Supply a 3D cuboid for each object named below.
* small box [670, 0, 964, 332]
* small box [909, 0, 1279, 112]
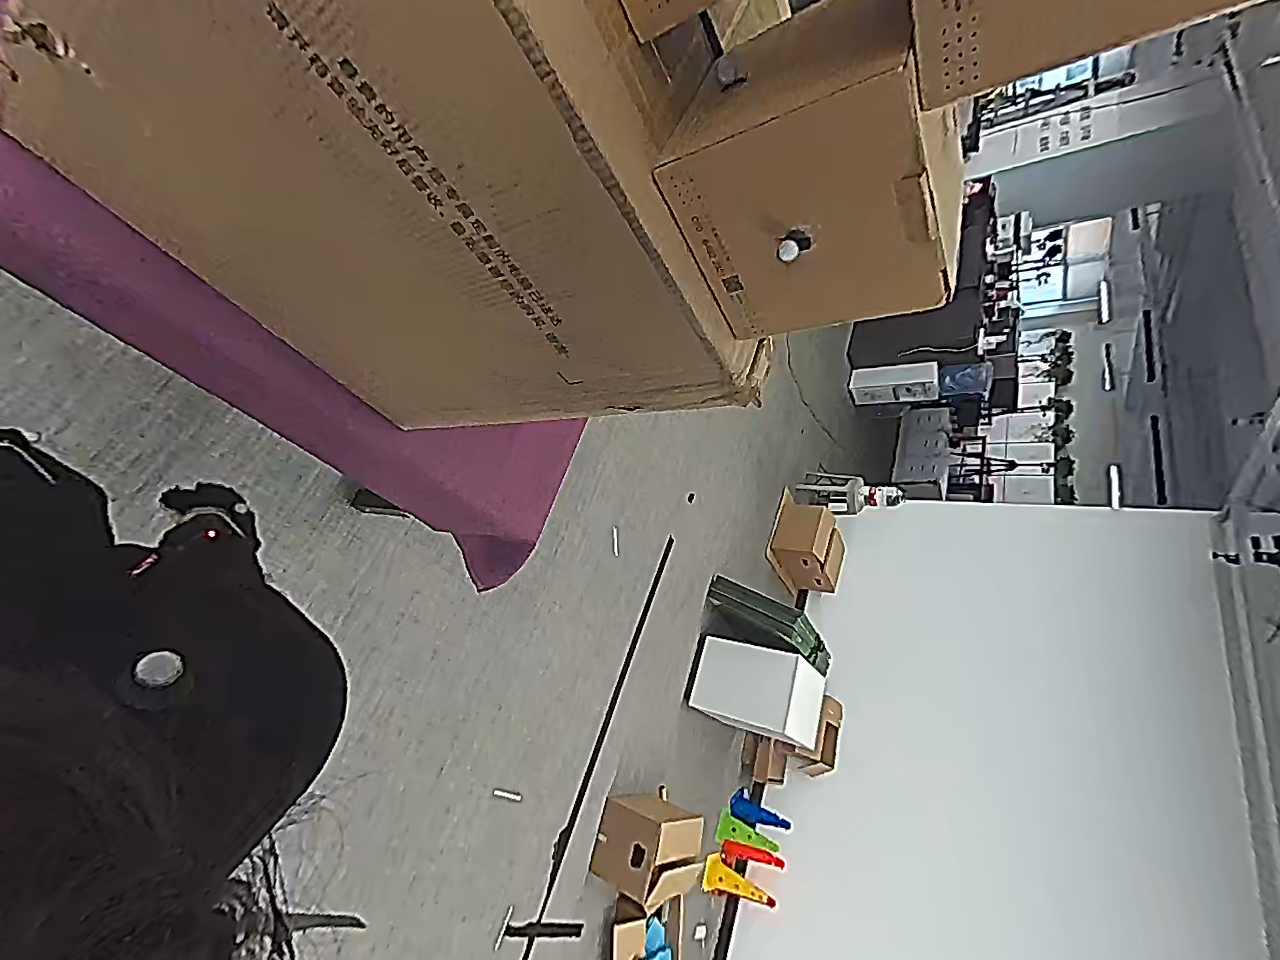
[{"bbox_3d":[0.143,-0.241,0.426,0.168,0.176,0.179,50,52,-42],"label":"small box"},{"bbox_3d":[0.234,-0.320,0.266,0.179,0.176,0.168,-58,135,-35],"label":"small box"}]
